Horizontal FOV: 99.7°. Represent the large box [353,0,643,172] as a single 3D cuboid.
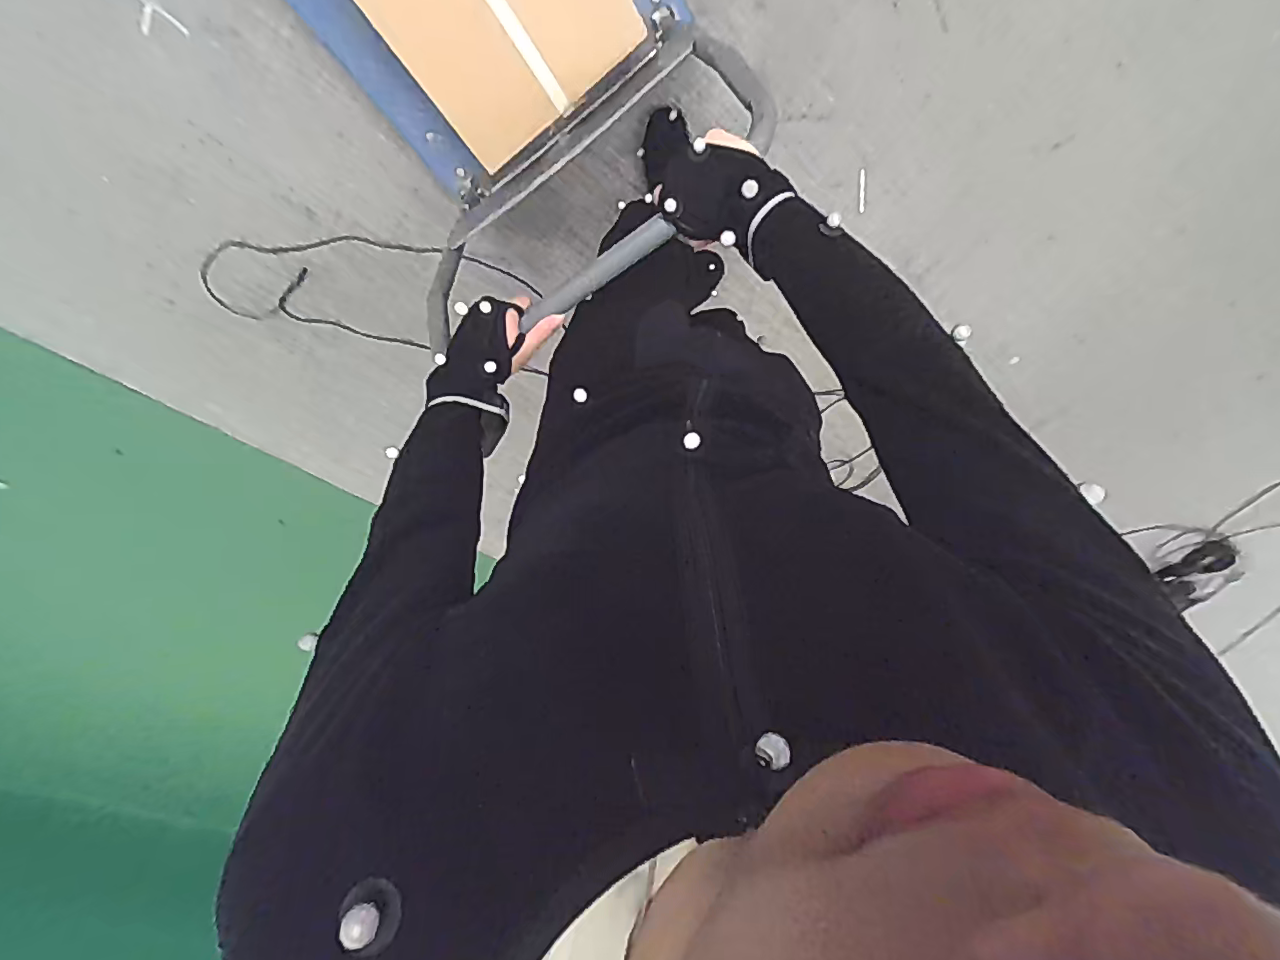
[{"bbox_3d":[-0.235,-0.788,0.843,0.320,0.320,0.408,-30,127,20],"label":"large box"}]
